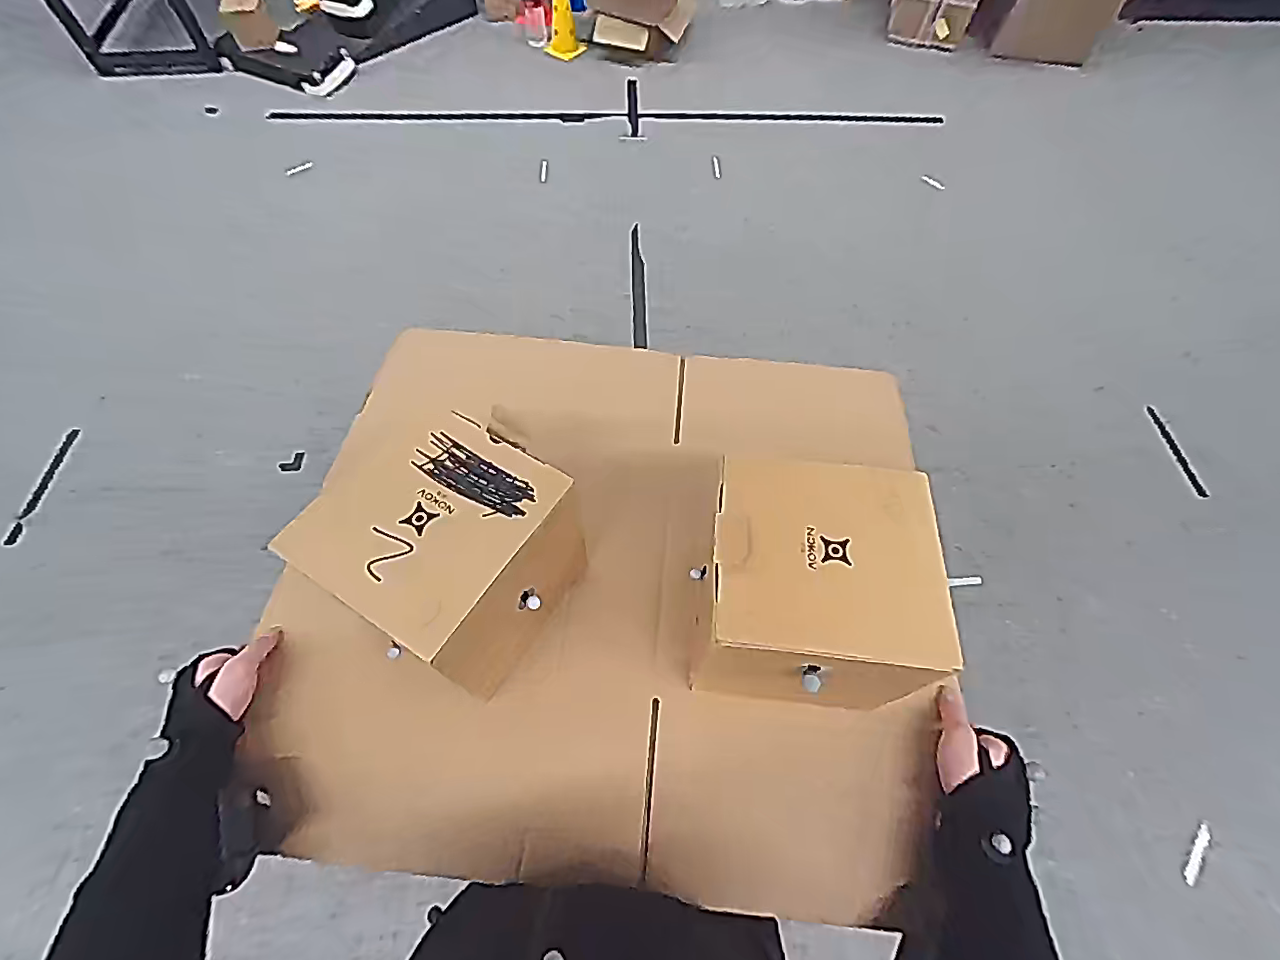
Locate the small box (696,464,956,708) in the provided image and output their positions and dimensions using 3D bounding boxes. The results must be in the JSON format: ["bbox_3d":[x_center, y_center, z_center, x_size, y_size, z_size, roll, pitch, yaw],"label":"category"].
[{"bbox_3d":[0.152,0.106,0.502,0.179,0.176,0.168,6,58,4],"label":"small box"}]
